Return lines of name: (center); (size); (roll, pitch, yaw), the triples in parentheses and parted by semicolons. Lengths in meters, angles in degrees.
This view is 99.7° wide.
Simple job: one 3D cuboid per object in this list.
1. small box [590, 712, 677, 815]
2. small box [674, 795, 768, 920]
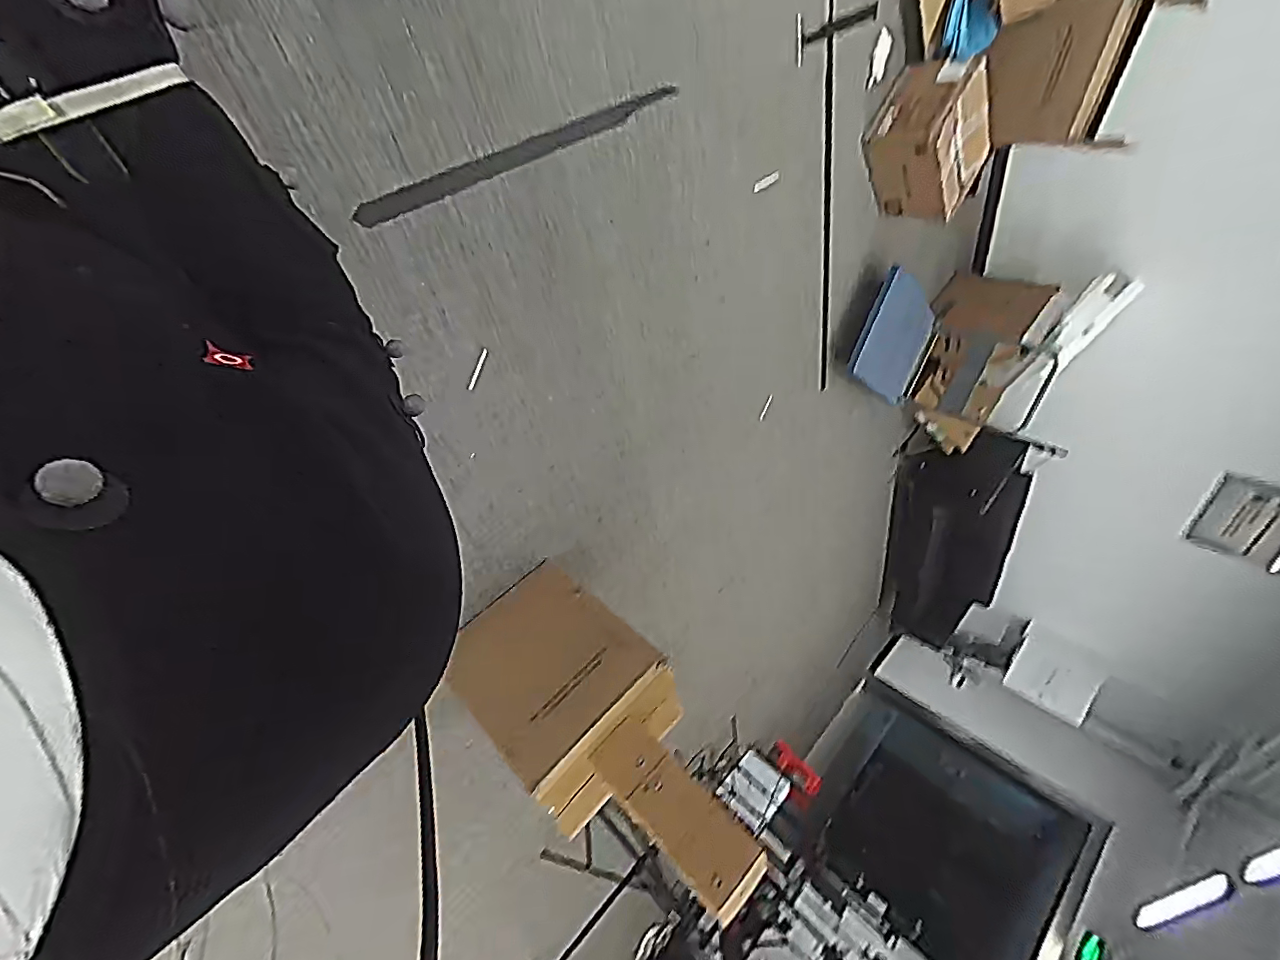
small box: (-0.017, 0.823, 1.581); (0.179, 0.176, 0.168); (-38, 135, -25)
small box: (0.202, 0.952, 1.372); (0.179, 0.176, 0.168); (-38, 136, -25)
